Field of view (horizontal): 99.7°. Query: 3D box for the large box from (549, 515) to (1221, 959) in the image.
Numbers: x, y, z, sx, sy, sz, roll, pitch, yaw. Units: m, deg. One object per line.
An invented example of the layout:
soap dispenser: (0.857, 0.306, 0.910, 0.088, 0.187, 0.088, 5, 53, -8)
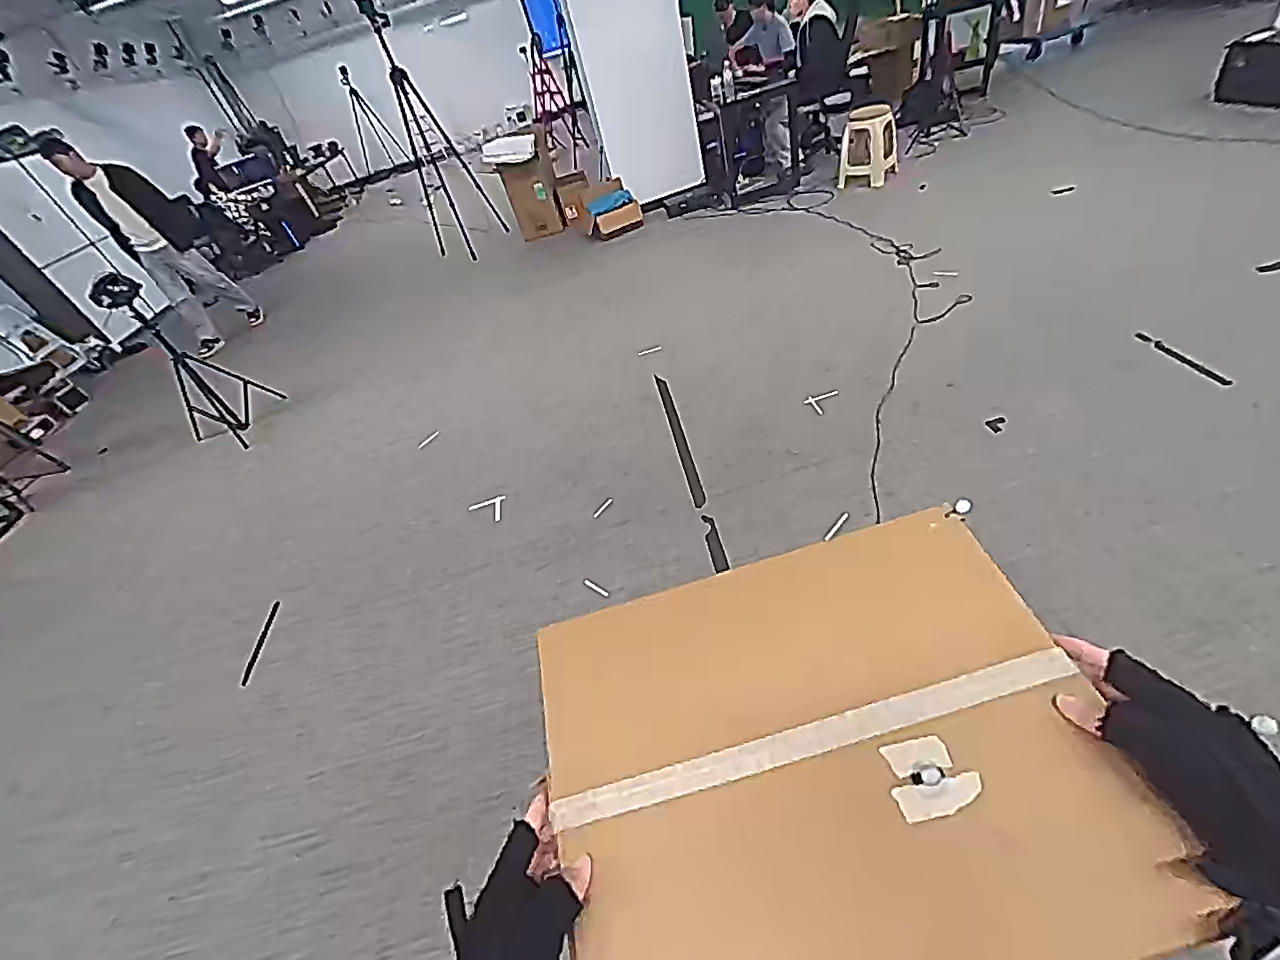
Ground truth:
large box: (0.162, 0.296, 0.536, 0.408, 0.320, 0.320, -18, 50, 1)
